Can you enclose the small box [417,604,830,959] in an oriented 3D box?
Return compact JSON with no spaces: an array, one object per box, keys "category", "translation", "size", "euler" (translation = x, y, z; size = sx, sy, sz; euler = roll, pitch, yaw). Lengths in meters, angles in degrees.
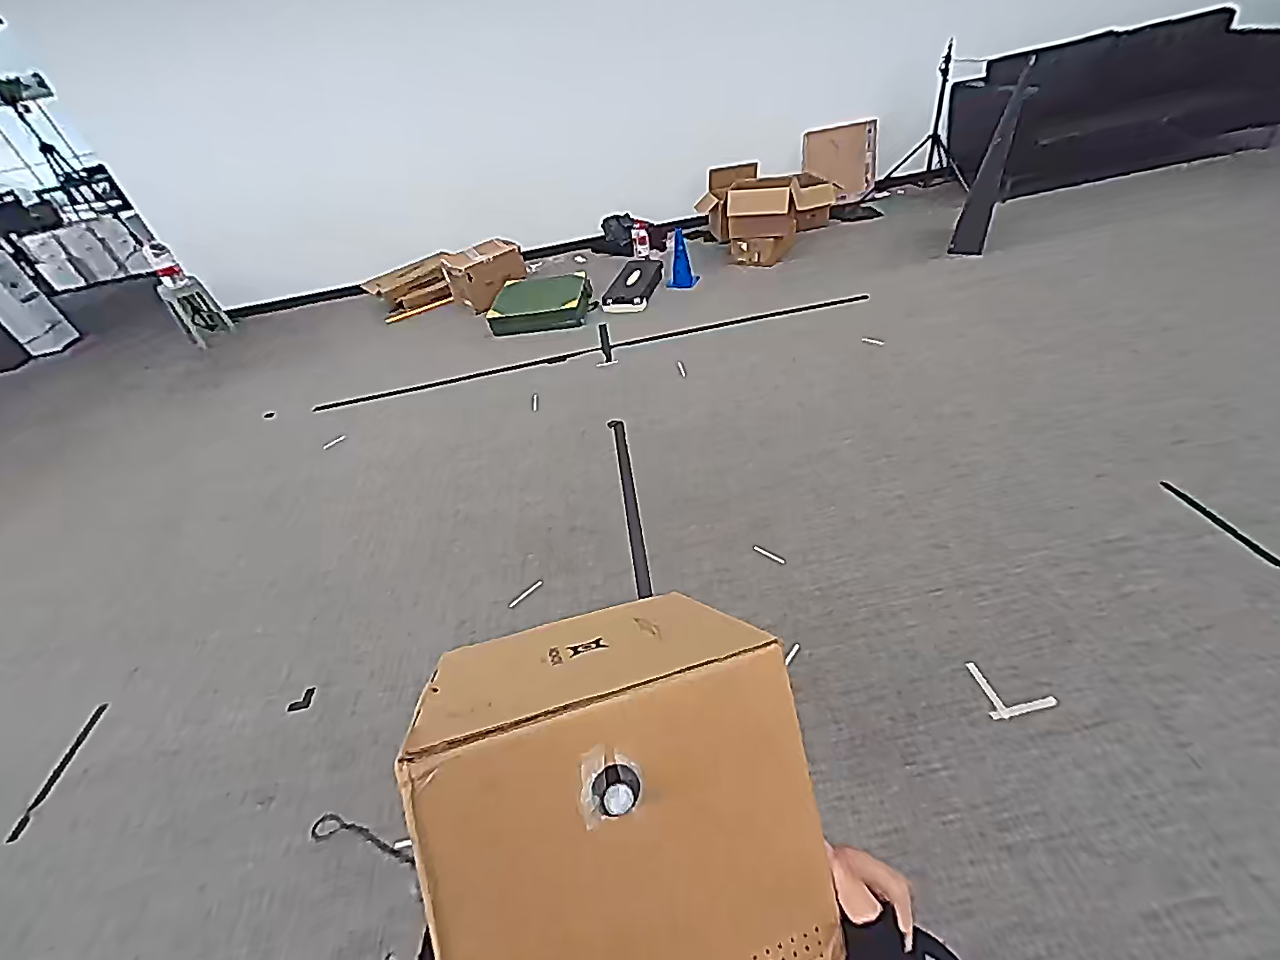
[{"category":"small box","translation":[-0.015,0.189,0.327],"size":[0.179,0.176,0.168],"euler":[-11,-1,-14]}]
